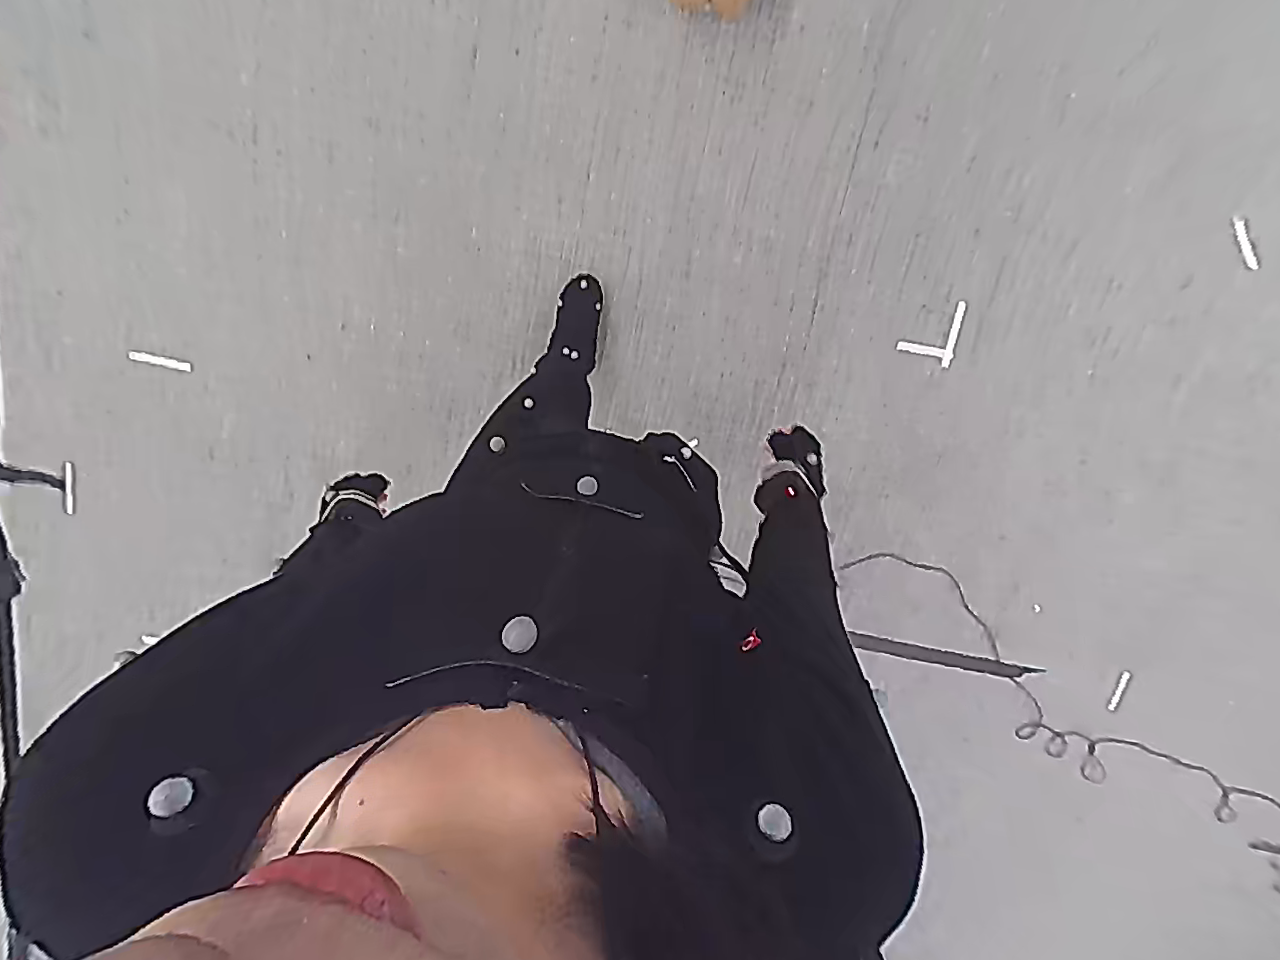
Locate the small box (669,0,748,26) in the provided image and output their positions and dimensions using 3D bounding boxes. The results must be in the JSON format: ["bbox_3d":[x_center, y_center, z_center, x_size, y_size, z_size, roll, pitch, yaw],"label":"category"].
[{"bbox_3d":[0.168,-1.143,1.179,0.179,0.176,0.168,10,102,-5],"label":"small box"}]
